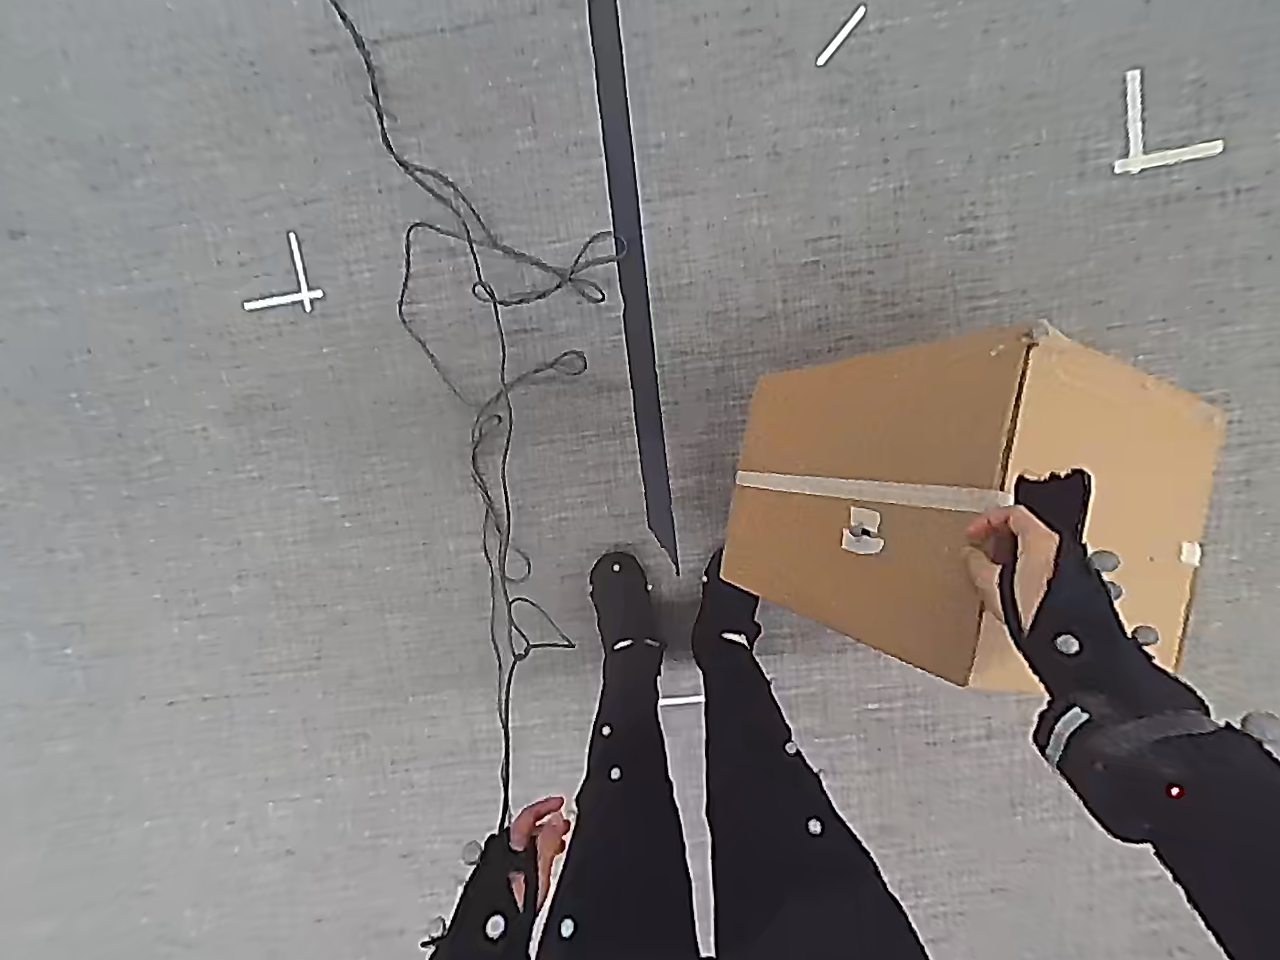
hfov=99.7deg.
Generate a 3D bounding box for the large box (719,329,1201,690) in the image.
[{"bbox_3d":[0.360,0.040,0.691,0.320,0.408,0.320,10,89,-25],"label":"large box"}]
